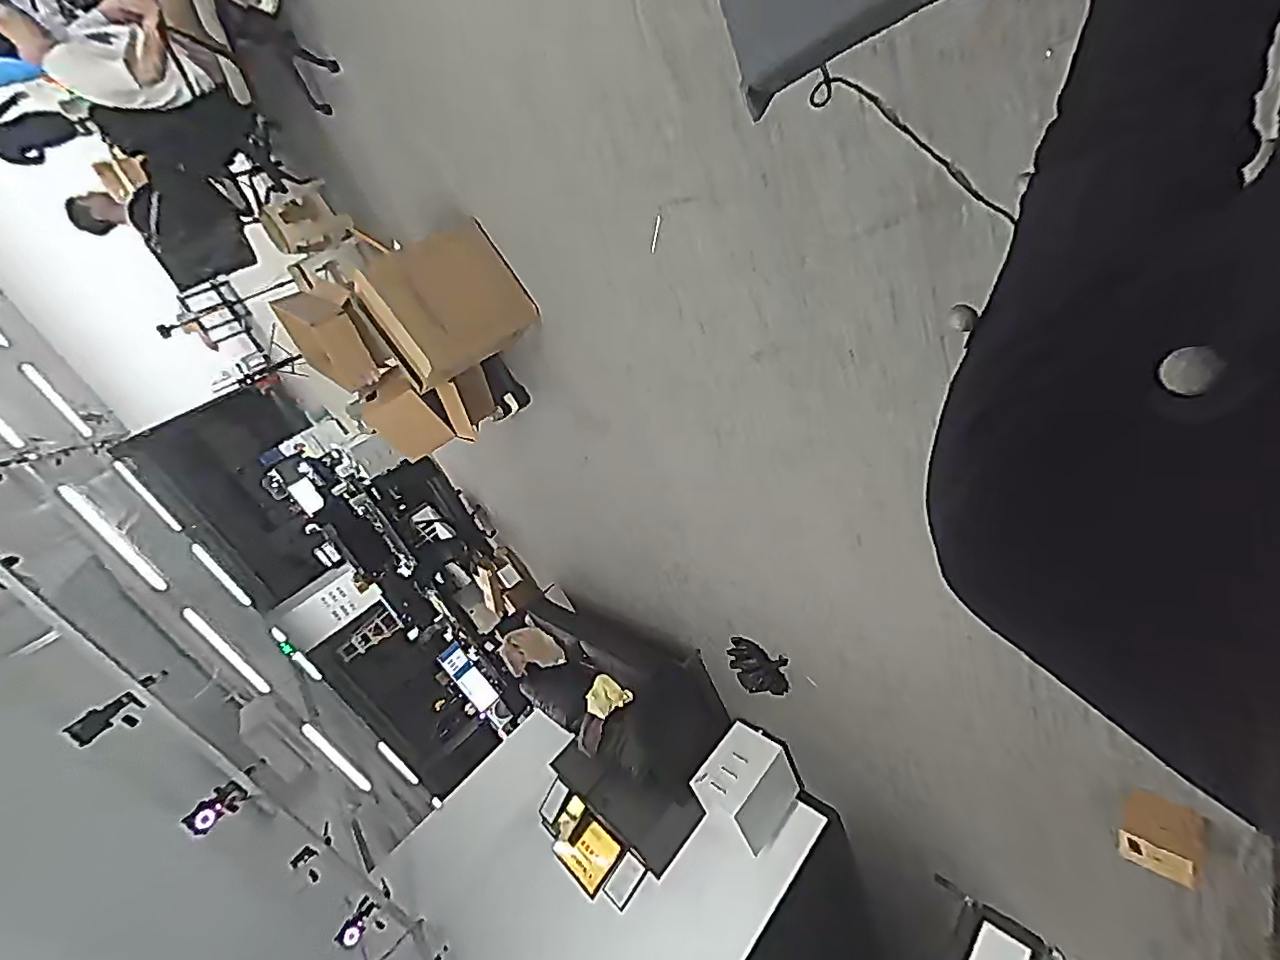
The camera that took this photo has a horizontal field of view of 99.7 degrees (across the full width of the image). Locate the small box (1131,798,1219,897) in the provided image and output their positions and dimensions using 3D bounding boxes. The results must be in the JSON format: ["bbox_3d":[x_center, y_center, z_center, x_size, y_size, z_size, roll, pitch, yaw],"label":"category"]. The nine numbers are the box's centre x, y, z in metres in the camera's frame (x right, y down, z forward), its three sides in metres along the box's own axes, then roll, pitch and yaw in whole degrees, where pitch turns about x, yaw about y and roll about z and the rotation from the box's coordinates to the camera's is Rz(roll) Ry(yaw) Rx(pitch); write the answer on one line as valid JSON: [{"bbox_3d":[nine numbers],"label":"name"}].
[{"bbox_3d":[1.729,1.175,1.749,0.179,0.176,0.168,7,129,53],"label":"small box"}]
